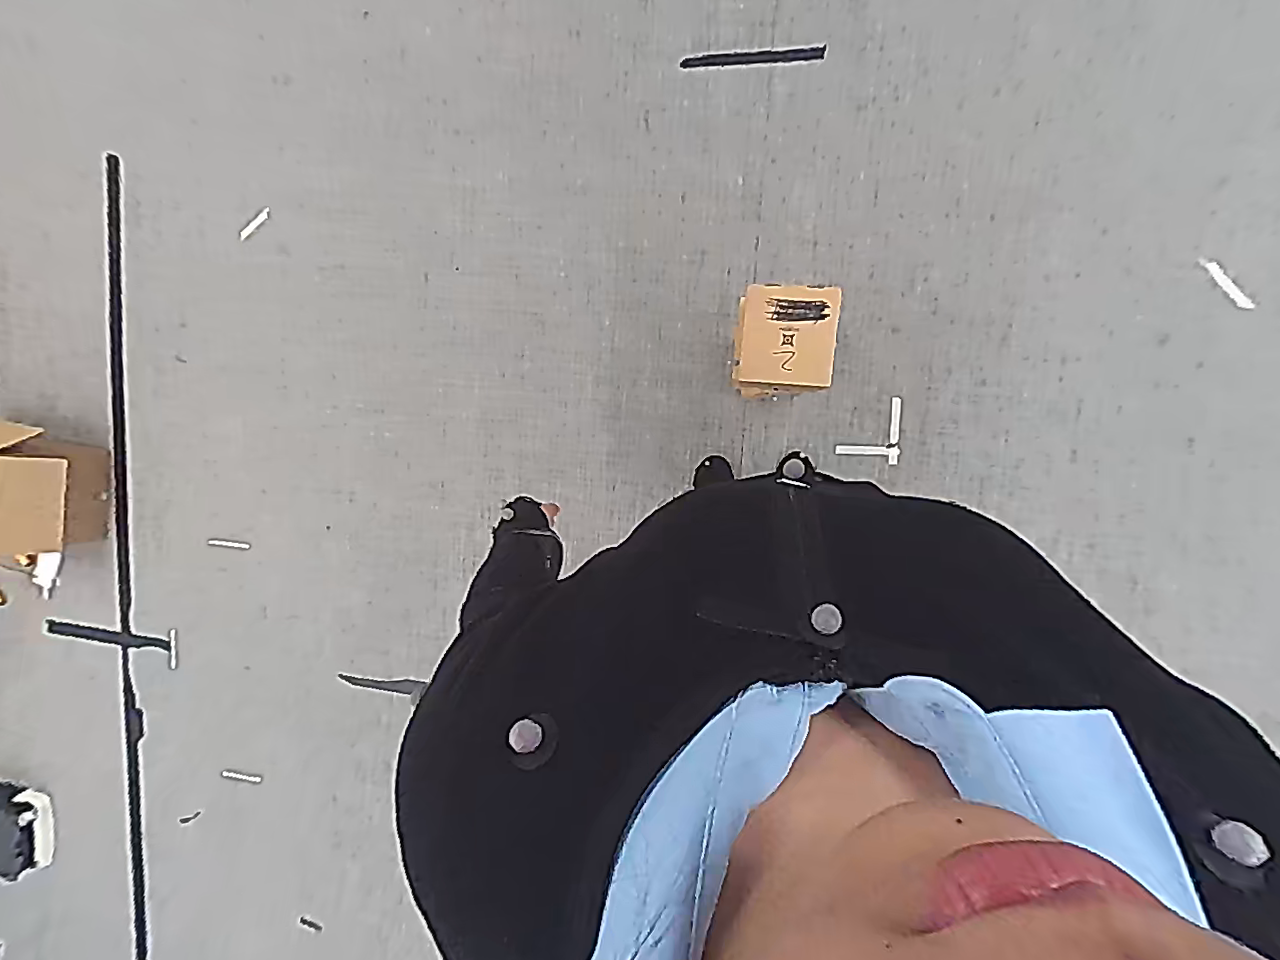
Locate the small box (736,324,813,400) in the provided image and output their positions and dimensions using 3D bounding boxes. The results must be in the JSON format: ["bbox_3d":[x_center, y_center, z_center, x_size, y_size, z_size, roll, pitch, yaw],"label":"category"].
[{"bbox_3d":[0.333,-0.303,1.362,0.168,0.176,0.179,-7,94,11],"label":"small box"}]

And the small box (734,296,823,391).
[{"bbox_3d":[0.300,-0.297,1.202,0.168,0.176,0.179,5,96,9],"label":"small box"}]
